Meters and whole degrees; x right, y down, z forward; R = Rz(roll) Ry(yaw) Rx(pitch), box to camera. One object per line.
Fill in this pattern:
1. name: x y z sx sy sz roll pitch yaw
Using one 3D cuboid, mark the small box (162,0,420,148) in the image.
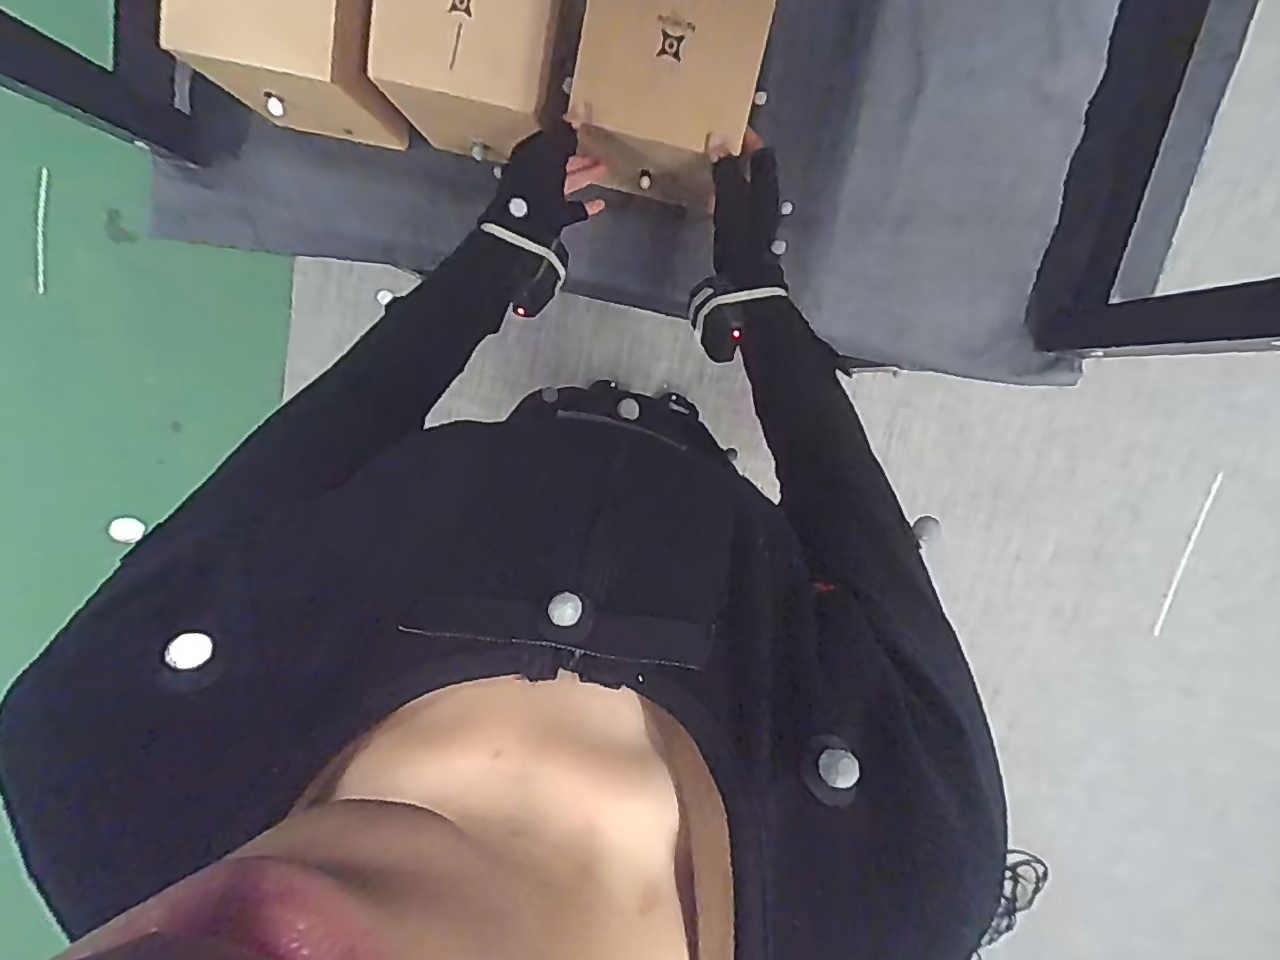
1. small box: -0.352 -0.488 0.575 0.168 0.176 0.179 11 100 -1
